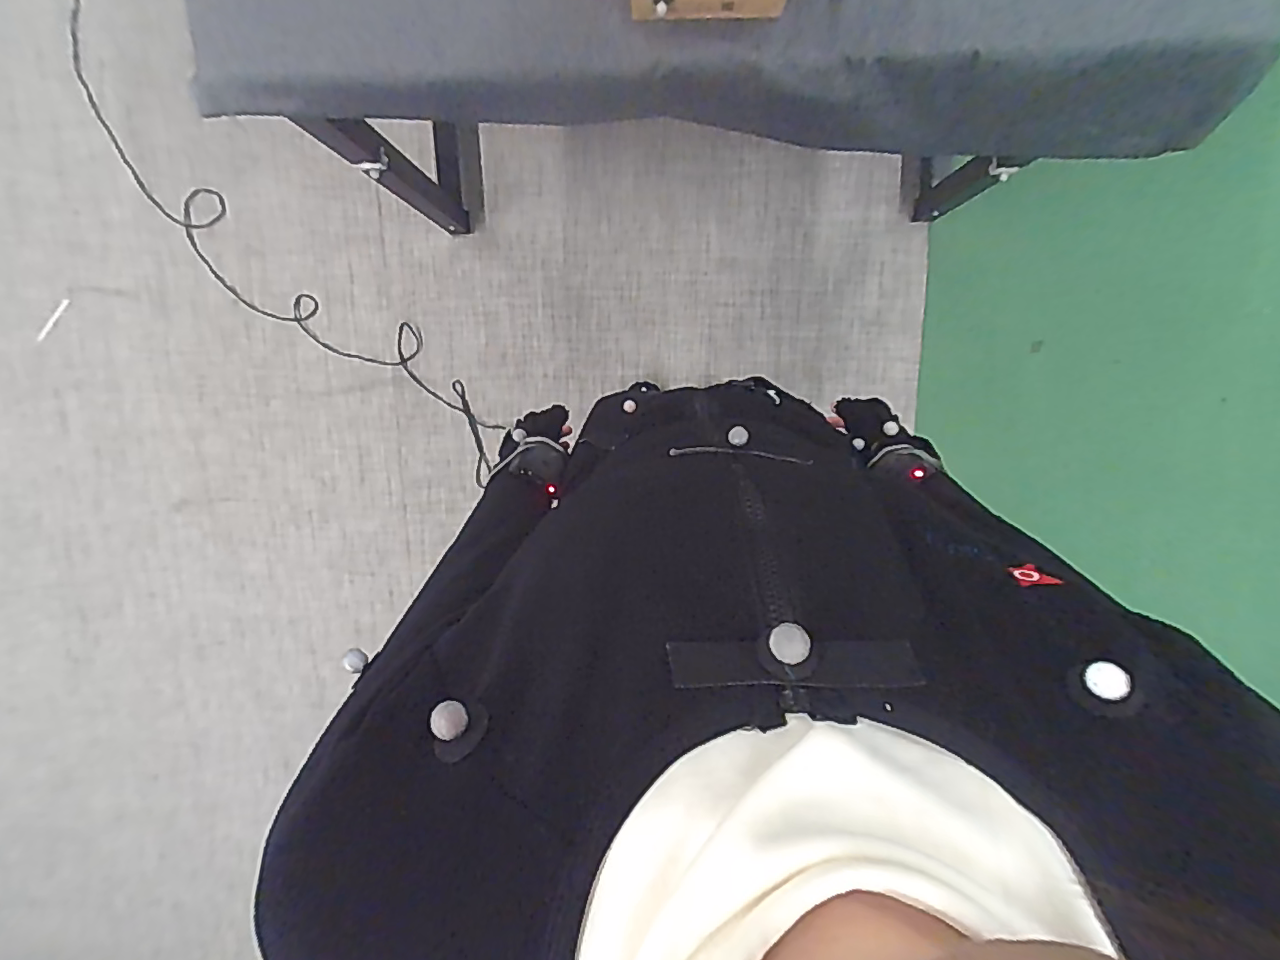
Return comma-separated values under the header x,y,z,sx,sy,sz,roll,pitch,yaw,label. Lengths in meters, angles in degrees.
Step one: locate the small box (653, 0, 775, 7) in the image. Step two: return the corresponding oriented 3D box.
x,y,z,sx,sy,sz,roll,pitch,yaw,label
0.073,-0.598,0.514,0.168,0.176,0.179,1,98,1,small box
